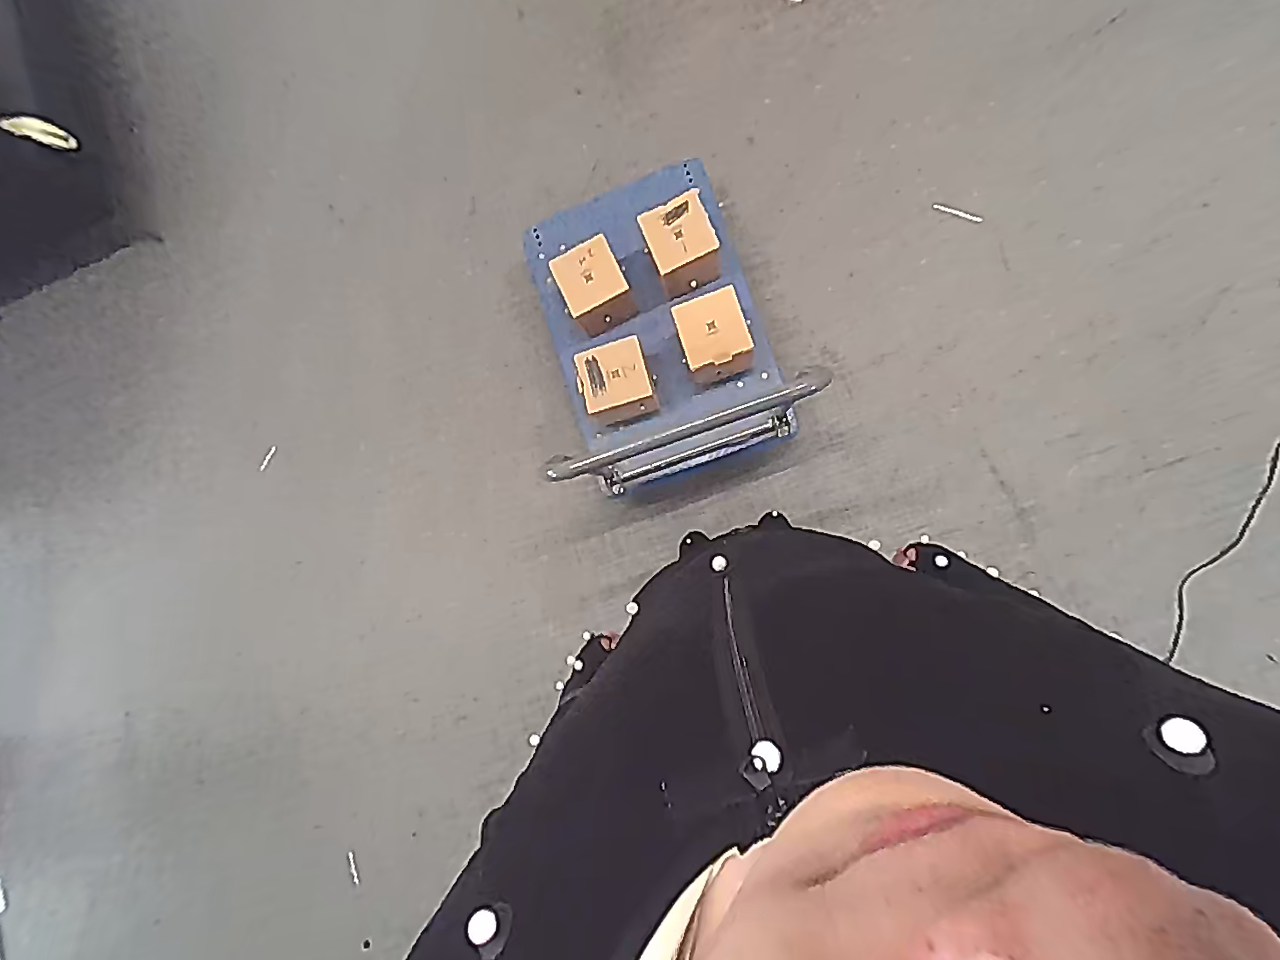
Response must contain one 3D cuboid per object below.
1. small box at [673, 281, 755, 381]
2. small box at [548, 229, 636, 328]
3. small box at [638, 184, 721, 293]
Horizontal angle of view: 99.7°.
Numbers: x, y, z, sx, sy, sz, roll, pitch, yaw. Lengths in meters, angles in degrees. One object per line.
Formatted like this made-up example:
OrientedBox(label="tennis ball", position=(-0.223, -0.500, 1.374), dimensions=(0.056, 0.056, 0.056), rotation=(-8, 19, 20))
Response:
OrientedBox(label="small box", position=(0.193, -0.383, 1.418), dimensions=(0.168, 0.176, 0.179), rotation=(-19, 83, 8))
OrientedBox(label="small box", position=(-0.123, -0.538, 1.481), dimensions=(0.168, 0.176, 0.179), rotation=(-26, 83, 6))
OrientedBox(label="small box", position=(0.110, -0.638, 1.449), dimensions=(0.168, 0.176, 0.179), rotation=(-23, 83, 8))
